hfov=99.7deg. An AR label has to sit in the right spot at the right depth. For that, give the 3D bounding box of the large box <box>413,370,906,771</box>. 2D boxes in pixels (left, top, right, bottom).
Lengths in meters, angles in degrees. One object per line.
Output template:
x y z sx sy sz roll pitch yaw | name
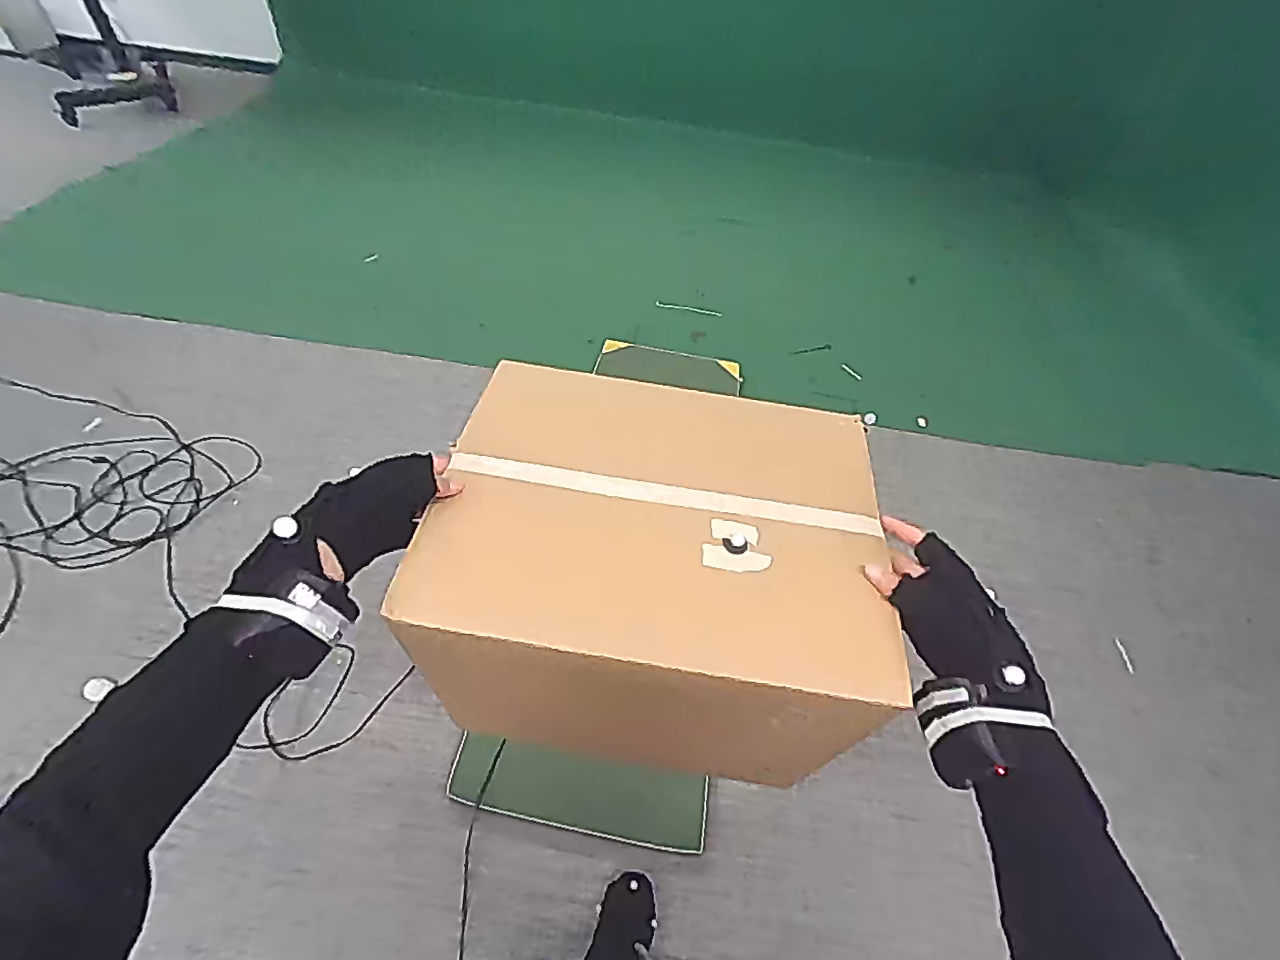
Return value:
0.017 0.113 0.631 0.408 0.320 0.320 10 51 1 | large box
